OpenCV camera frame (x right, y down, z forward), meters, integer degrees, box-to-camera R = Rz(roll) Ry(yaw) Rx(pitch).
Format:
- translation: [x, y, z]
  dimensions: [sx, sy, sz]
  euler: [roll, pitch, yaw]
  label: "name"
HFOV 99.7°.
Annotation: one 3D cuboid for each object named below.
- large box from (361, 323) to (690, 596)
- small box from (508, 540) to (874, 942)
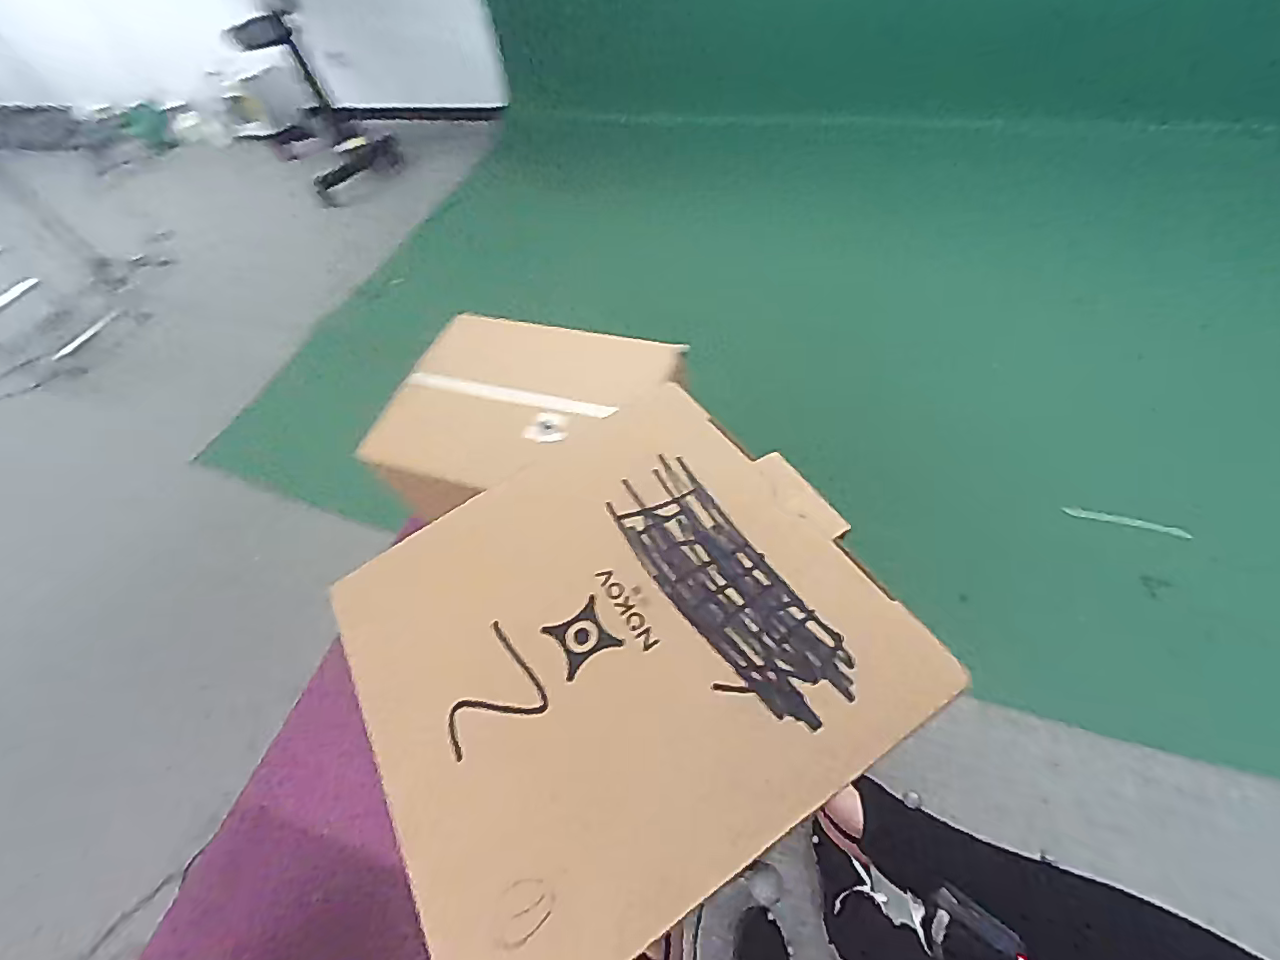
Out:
- translation: [-0.153, -0.026, 0.918]
  dimensions: [0.408, 0.320, 0.320]
  euler: [13, 60, 16]
  label: "large box"
- translation: [0.031, 0.182, 0.392]
  dimensions: [0.168, 0.176, 0.179]
  euler: [-29, 56, -7]
  label: "small box"
